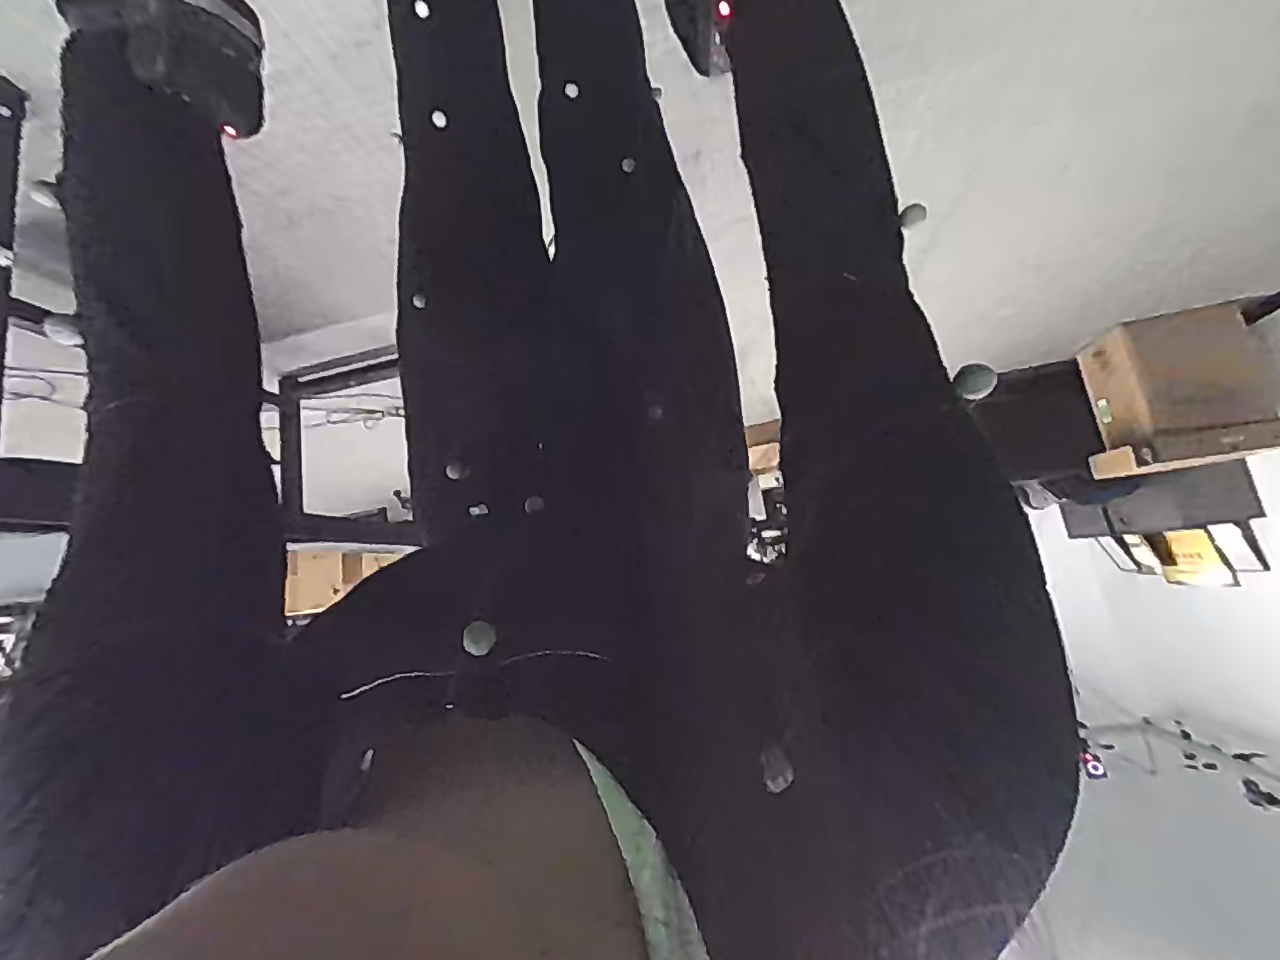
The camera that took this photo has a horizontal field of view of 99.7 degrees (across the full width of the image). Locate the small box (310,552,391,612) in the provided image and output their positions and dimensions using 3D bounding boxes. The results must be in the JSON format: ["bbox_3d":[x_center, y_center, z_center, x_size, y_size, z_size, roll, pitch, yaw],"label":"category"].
[{"bbox_3d":[-0.934,0.332,1.756,0.179,0.176,0.168,-9,169,11],"label":"small box"}]
